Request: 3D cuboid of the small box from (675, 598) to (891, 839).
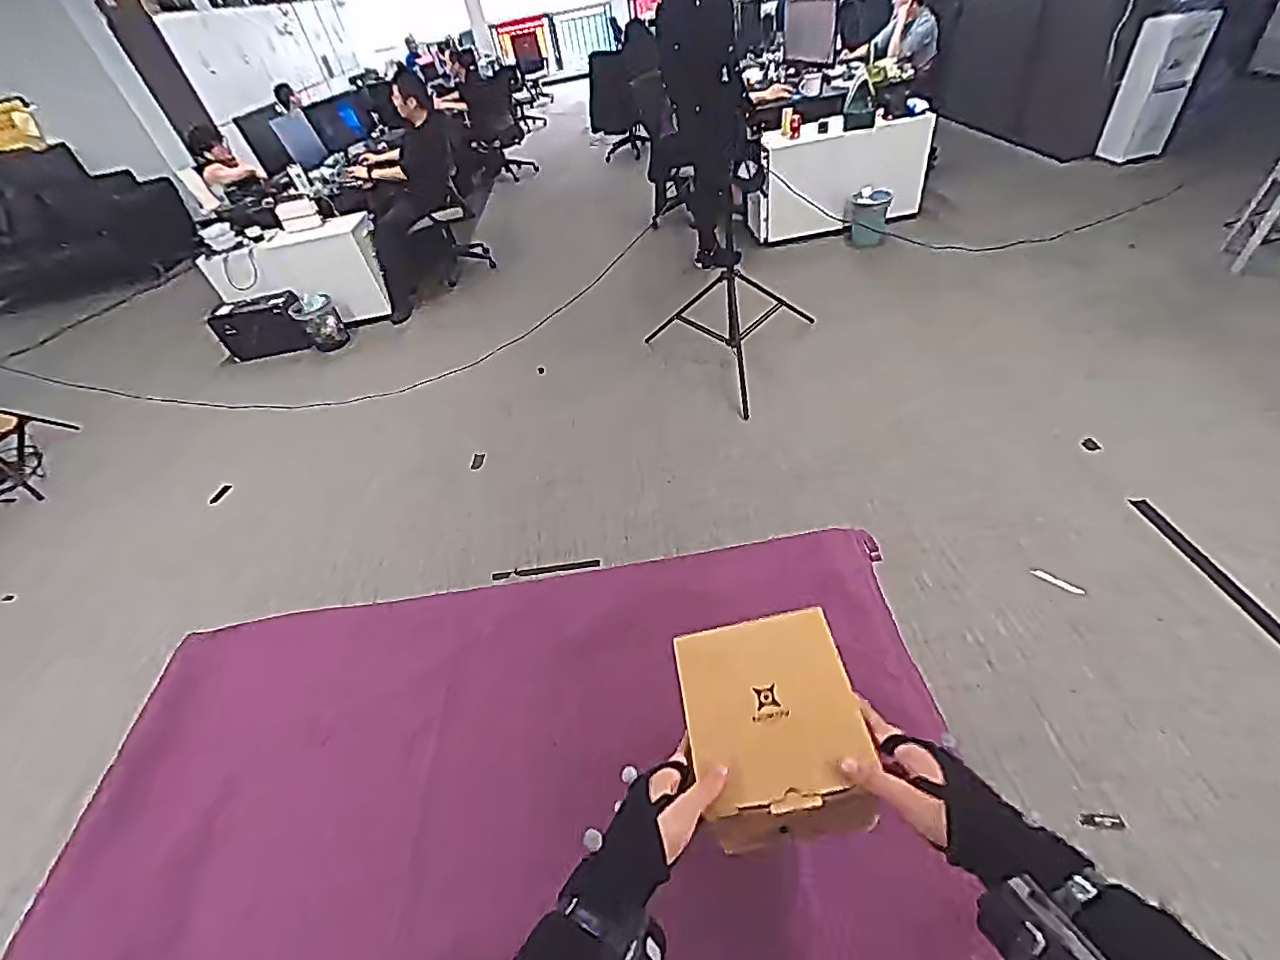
[{"bbox_3d":[0.142,0.257,0.578,0.168,0.176,0.179,-14,47,5],"label":"small box"}]
